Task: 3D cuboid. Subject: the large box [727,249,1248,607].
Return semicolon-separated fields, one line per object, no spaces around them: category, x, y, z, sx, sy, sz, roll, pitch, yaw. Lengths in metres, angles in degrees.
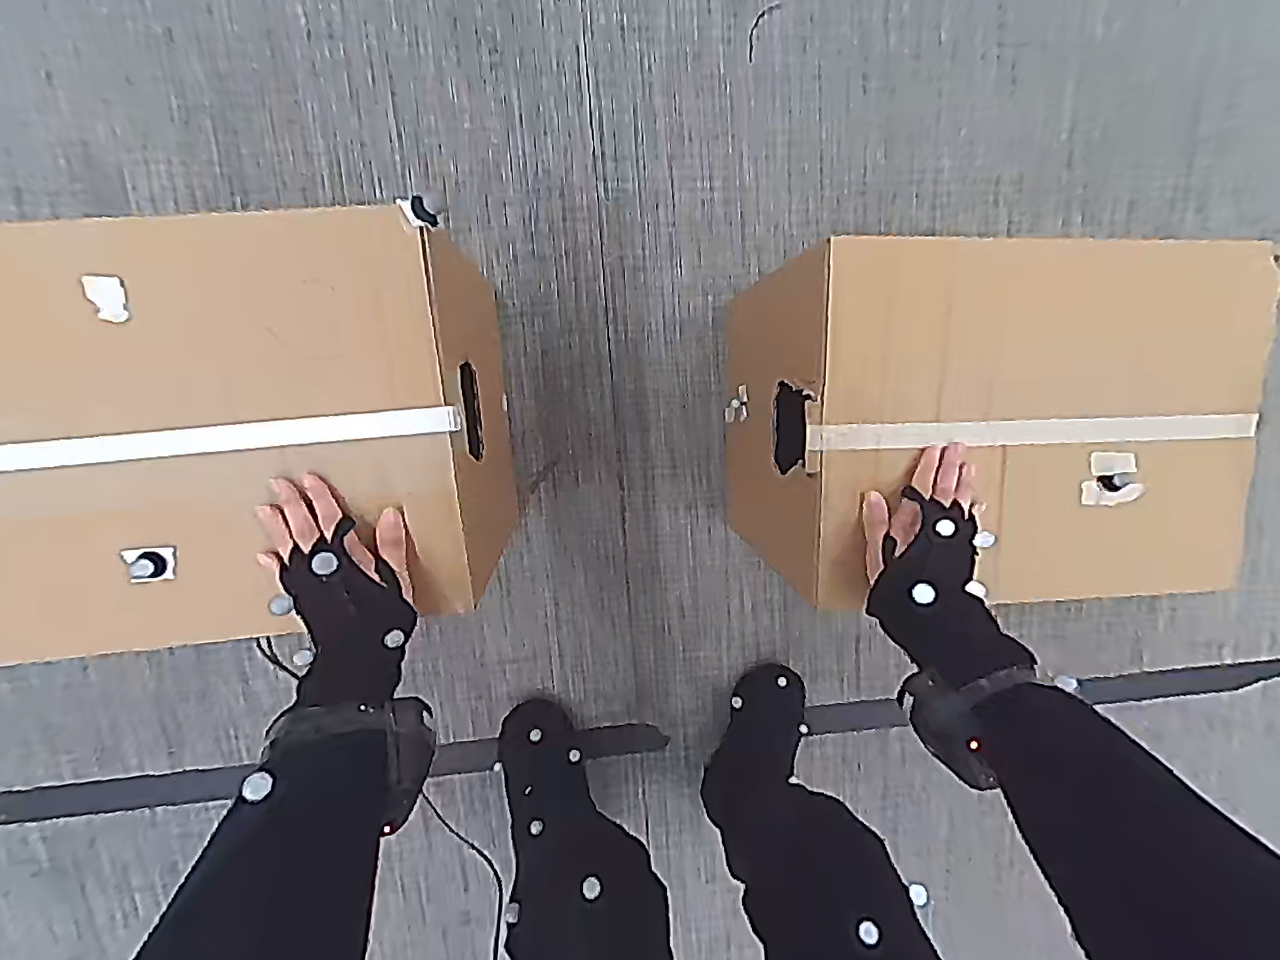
large box;0.334;-0.066;0.631;0.408;0.320;0.320;-2;100;-6
